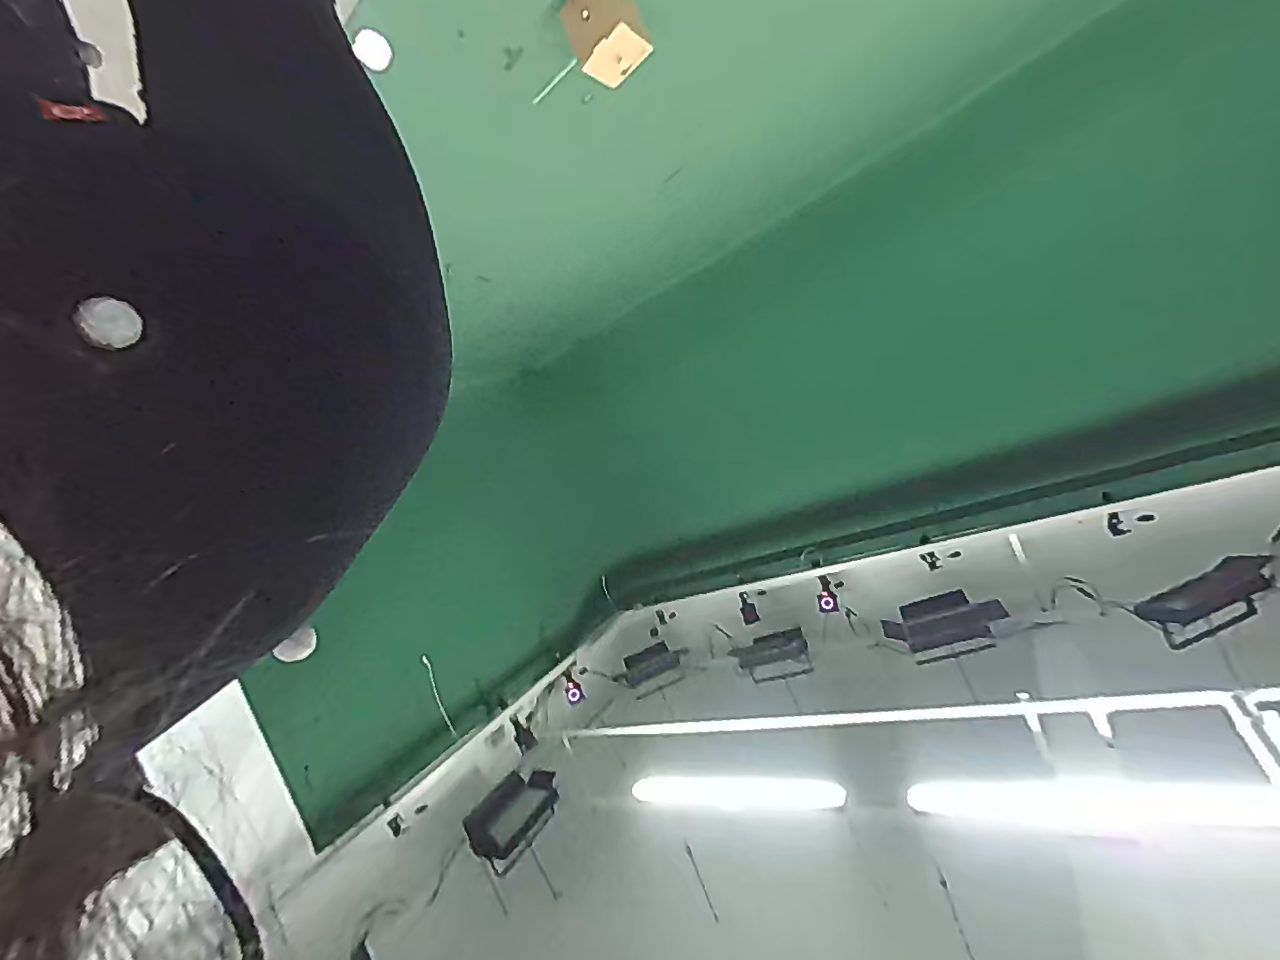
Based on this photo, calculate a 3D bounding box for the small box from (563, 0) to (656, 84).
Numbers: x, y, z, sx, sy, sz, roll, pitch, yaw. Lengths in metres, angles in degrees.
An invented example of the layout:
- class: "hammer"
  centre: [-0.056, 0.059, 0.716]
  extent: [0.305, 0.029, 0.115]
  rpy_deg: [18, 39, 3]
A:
- class: "small box"
  centre: [-0.089, -1.290, 1.533]
  extent: [0.168, 0.176, 0.179]
  rpy_deg: [-21, -178, 36]
